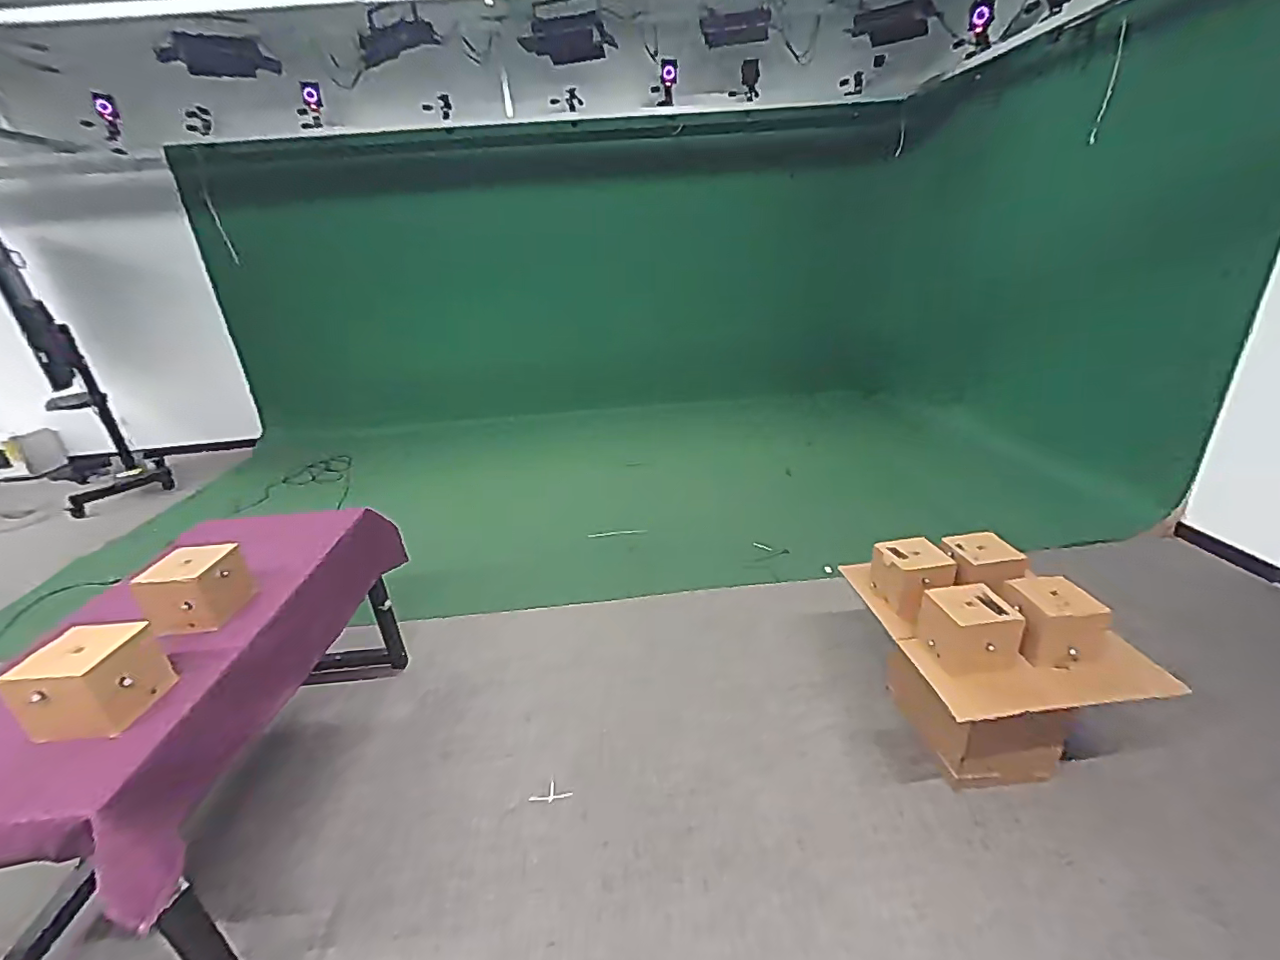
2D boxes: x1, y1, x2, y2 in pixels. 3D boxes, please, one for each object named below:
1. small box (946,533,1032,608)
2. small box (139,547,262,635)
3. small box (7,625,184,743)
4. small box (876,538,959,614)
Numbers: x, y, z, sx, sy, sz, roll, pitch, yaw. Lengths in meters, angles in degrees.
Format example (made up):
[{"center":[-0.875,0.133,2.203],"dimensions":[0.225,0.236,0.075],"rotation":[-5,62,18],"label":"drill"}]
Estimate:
[{"center":[1.076,0.284,1.699],"dimensions":[0.179,0.176,0.168],"rotation":[-5,22,-4],"label":"small box"},{"center":[-1.170,0.303,1.460],"dimensions":[0.168,0.176,0.179],"rotation":[-4,23,0],"label":"small box"},{"center":[-1.141,0.433,1.154],"dimensions":[0.179,0.176,0.168],"rotation":[-5,23,2],"label":"small box"},{"center":[0.861,0.303,1.698],"dimensions":[0.179,0.176,0.168],"rotation":[-7,23,-6],"label":"small box"}]
